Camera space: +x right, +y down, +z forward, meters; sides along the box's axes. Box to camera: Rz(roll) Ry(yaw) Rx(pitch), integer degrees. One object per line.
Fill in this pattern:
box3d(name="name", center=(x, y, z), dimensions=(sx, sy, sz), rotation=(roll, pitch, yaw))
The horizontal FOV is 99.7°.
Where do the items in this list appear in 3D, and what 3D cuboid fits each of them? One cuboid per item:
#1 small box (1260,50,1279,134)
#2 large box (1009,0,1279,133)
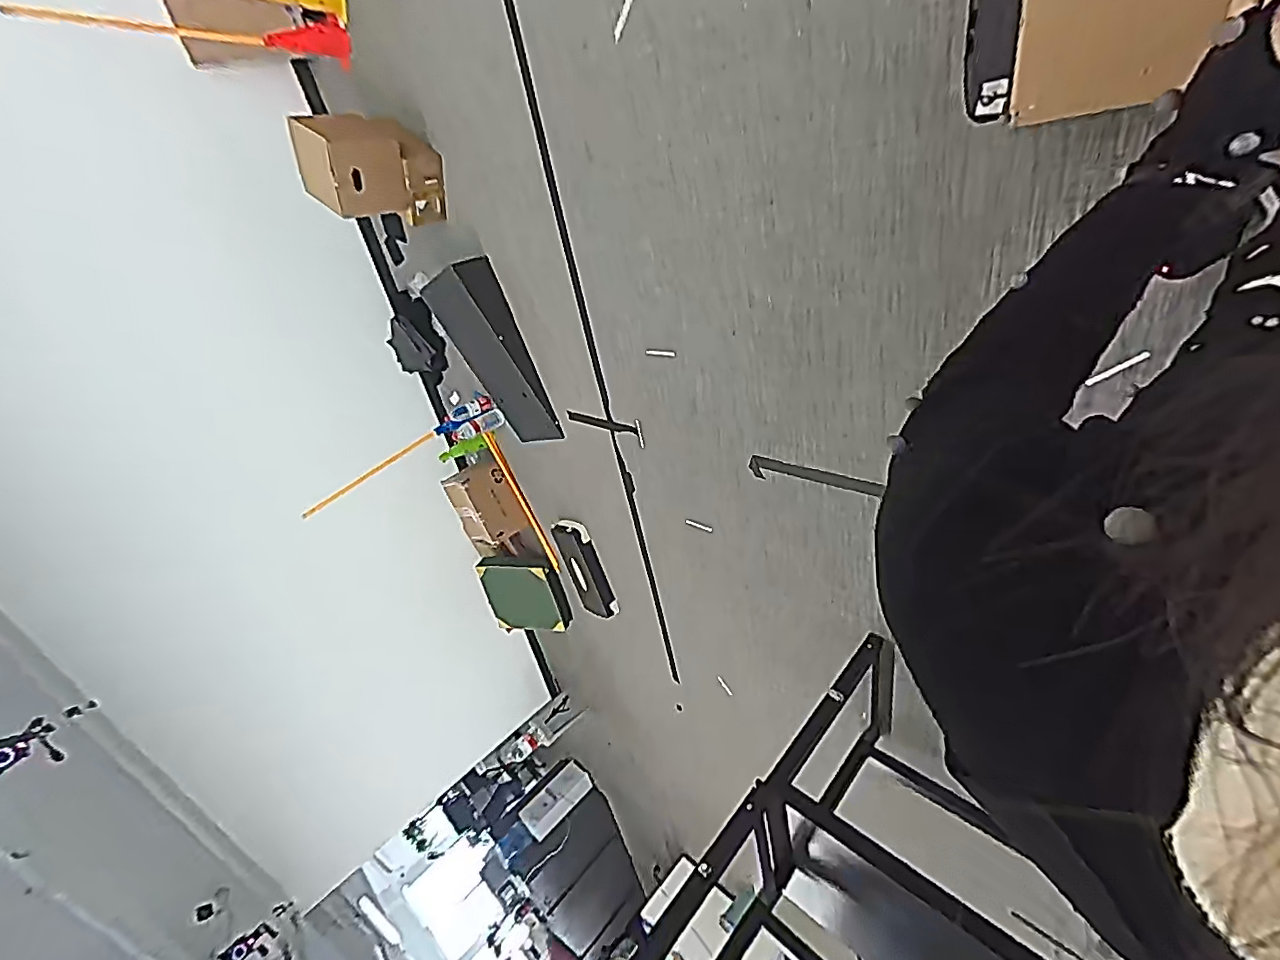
box3d(name="small box", center=(0.542, -0.352, 0.328), dimensions=(0.179, 0.176, 0.168), rotation=(16, 92, 41))
box3d(name="large box", center=(0.705, -0.619, 0.594), dimensions=(0.408, 0.320, 0.320), rotation=(19, 131, 44))
